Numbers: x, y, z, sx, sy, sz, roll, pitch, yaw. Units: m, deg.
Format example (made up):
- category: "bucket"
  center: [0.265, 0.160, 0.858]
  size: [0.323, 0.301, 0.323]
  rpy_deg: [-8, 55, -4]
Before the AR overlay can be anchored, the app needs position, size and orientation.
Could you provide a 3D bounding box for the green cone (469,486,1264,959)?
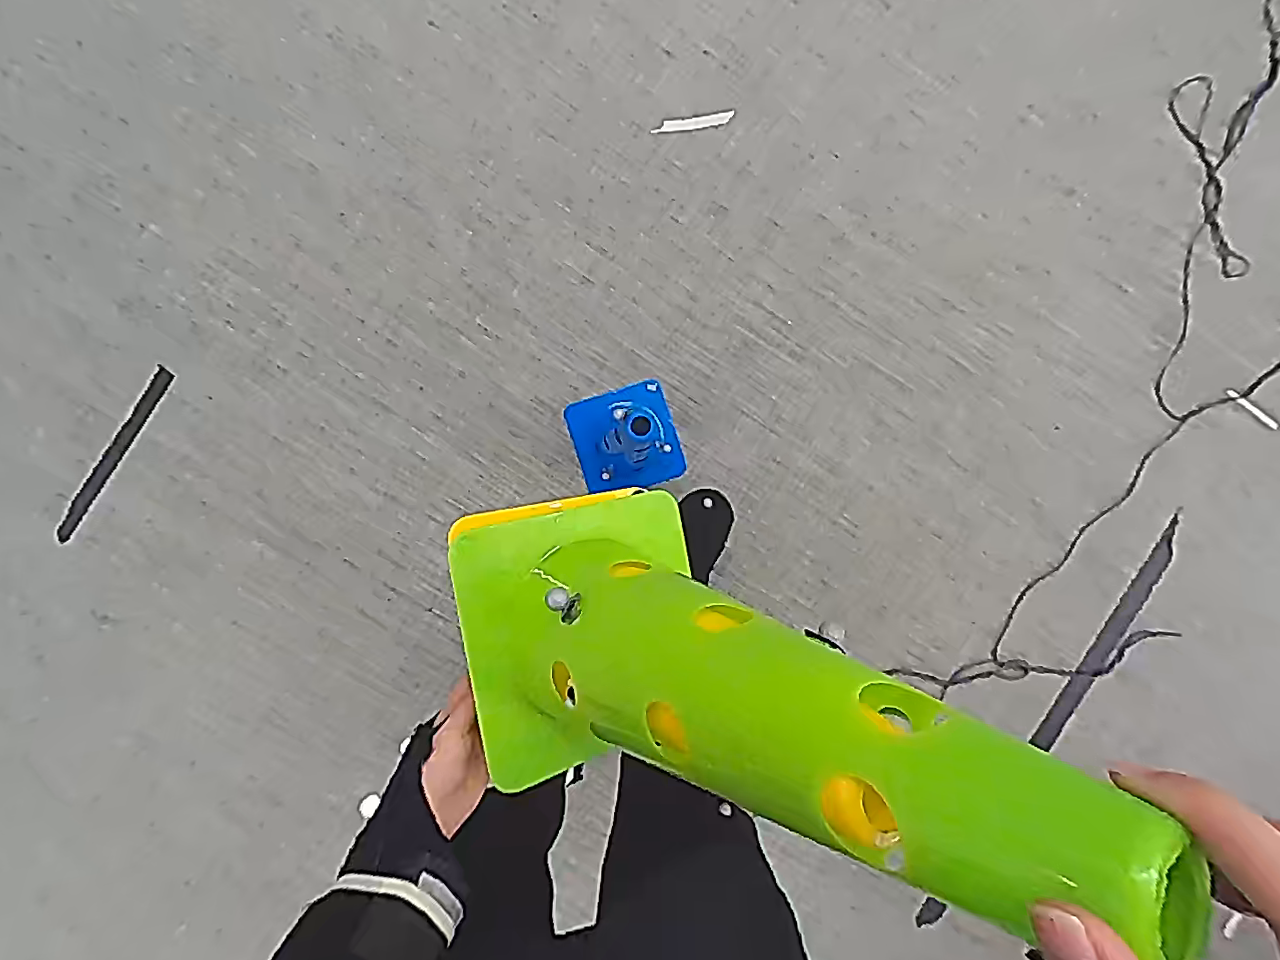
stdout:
- category: "green cone"
  center: [0.054, 0.103, 0.283]
  size: [0.202, 0.368, 0.200]
  rpy_deg: [-11, 91, -27]
